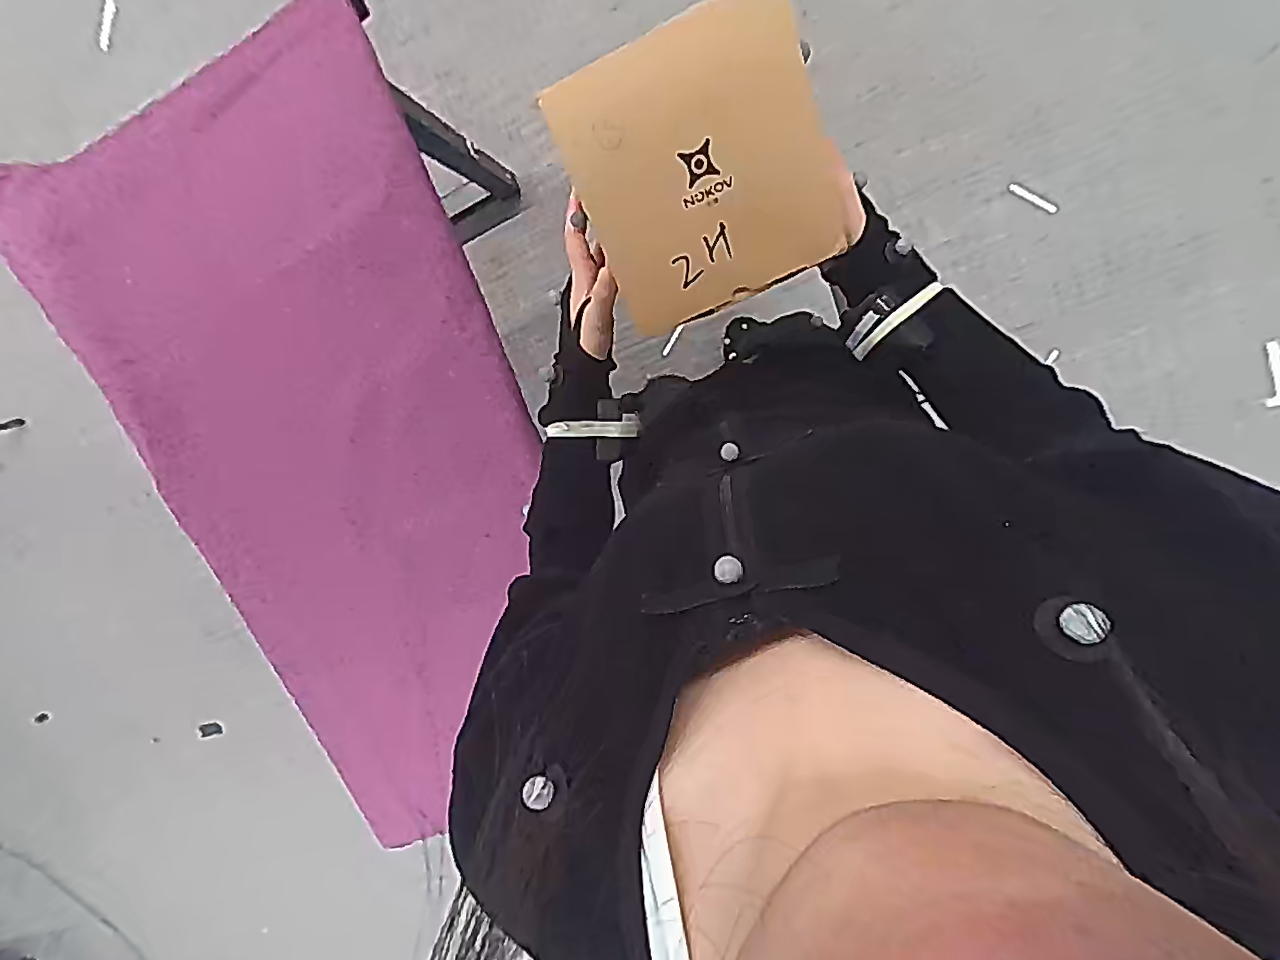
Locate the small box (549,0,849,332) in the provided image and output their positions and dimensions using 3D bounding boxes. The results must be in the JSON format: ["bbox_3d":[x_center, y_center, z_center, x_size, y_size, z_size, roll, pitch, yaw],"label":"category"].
[{"bbox_3d":[0.043,-0.247,0.441,0.168,0.176,0.179,-21,116,9],"label":"small box"}]
